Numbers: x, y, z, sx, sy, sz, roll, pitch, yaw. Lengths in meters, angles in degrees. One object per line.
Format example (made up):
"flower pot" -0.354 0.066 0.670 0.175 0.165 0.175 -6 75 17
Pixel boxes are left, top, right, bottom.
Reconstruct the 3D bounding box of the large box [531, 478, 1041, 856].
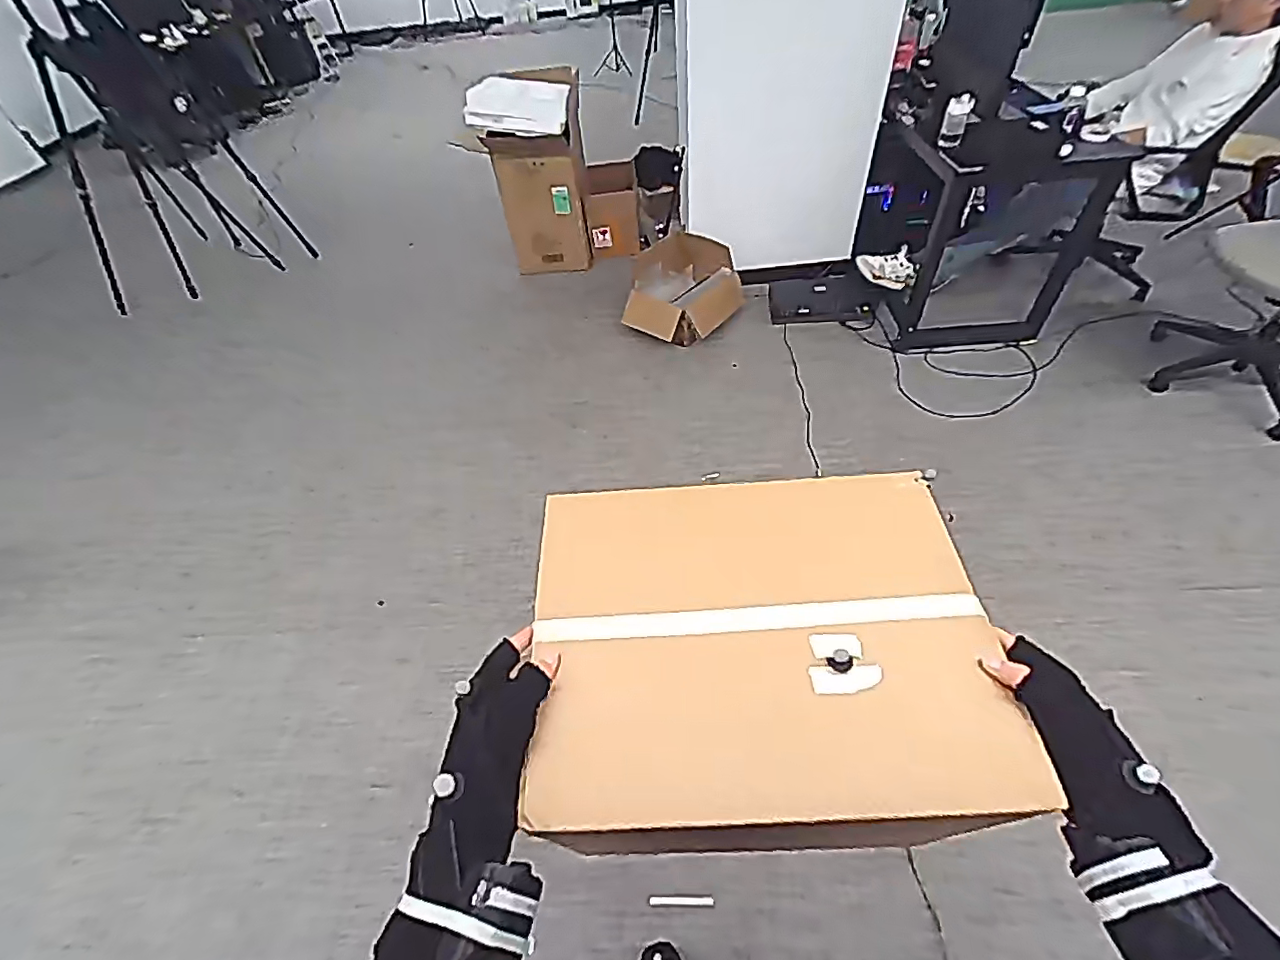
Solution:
"large box" 0.113 0.225 0.623 0.408 0.320 0.320 -4 52 2
